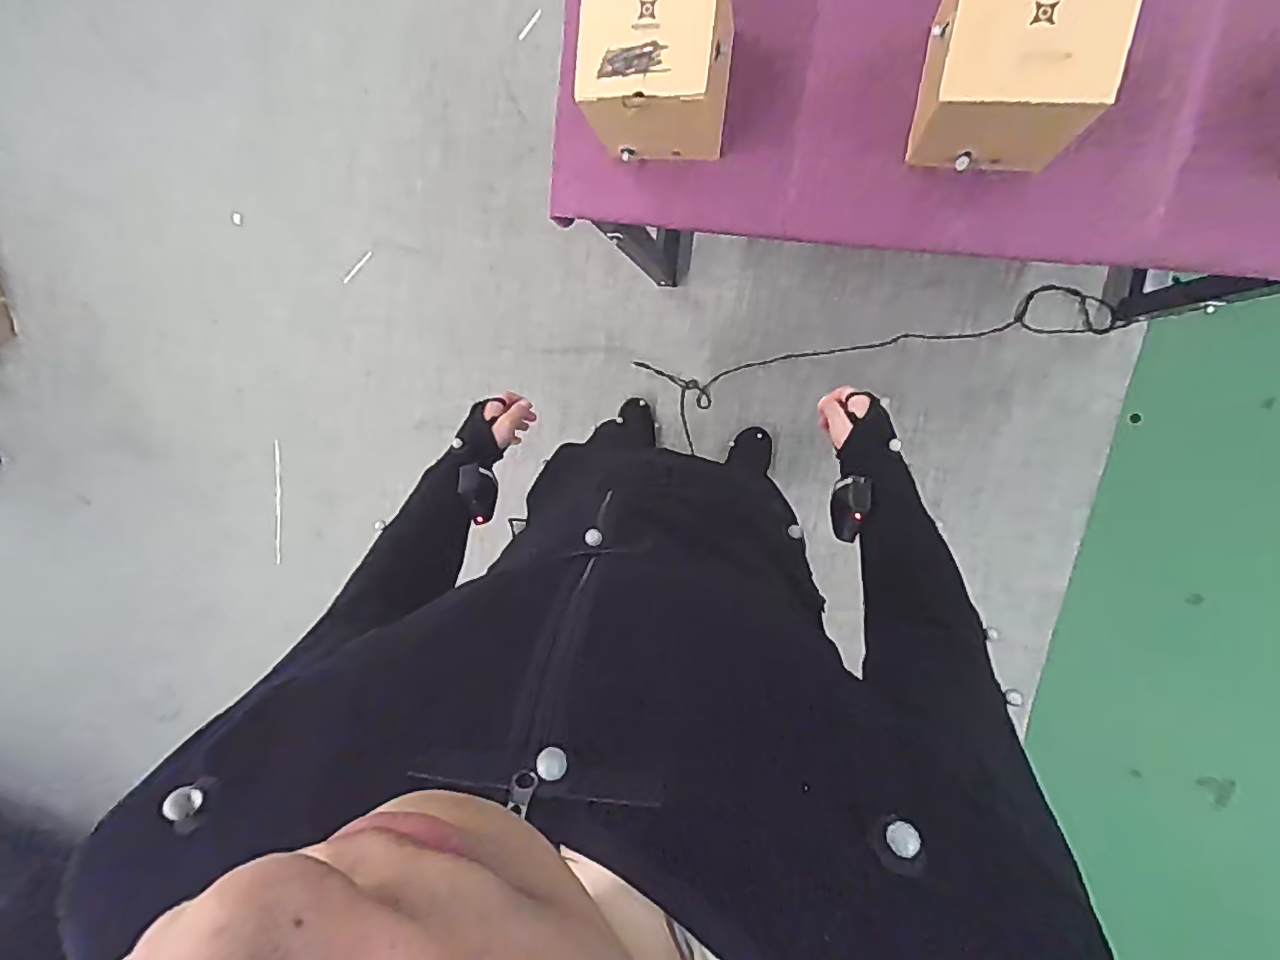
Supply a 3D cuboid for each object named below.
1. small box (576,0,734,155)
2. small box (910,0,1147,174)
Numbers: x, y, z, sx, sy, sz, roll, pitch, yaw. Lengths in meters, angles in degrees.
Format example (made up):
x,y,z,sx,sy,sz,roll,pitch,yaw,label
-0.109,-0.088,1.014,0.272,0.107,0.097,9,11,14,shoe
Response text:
x,y,z,sx,sy,sz,roll,pitch,yaw,label
0.028,-0.547,0.699,0.168,0.176,0.179,8,99,12,small box
0.429,-0.482,0.617,0.168,0.176,0.179,11,100,12,small box
